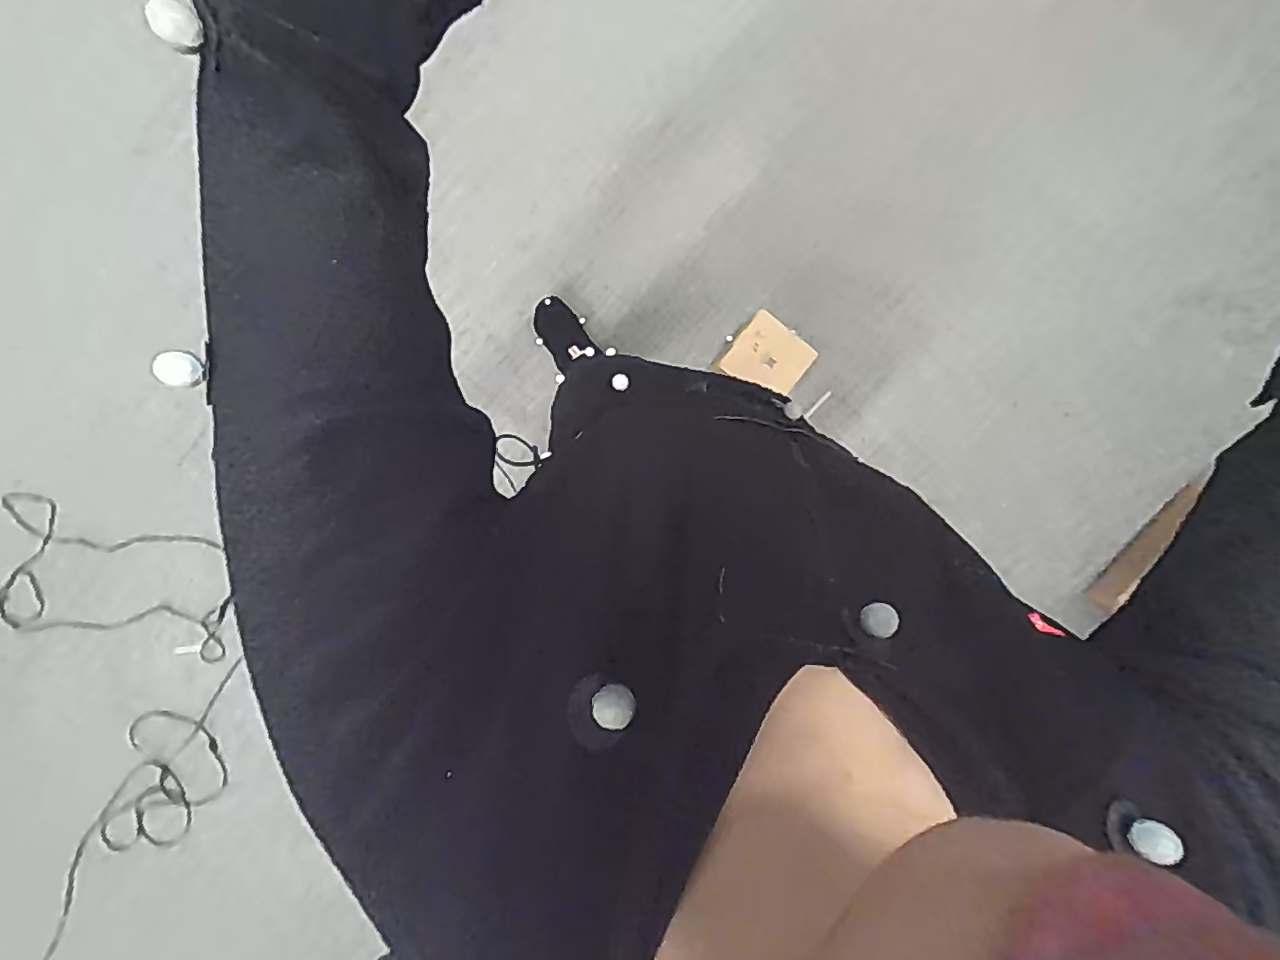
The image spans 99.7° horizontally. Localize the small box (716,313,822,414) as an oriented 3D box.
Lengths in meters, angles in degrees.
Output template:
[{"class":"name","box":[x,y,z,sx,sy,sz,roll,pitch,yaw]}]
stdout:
[{"class":"small box","box":[0.308,-0.282,1.328,0.179,0.176,0.168,38,98,-4]}]
